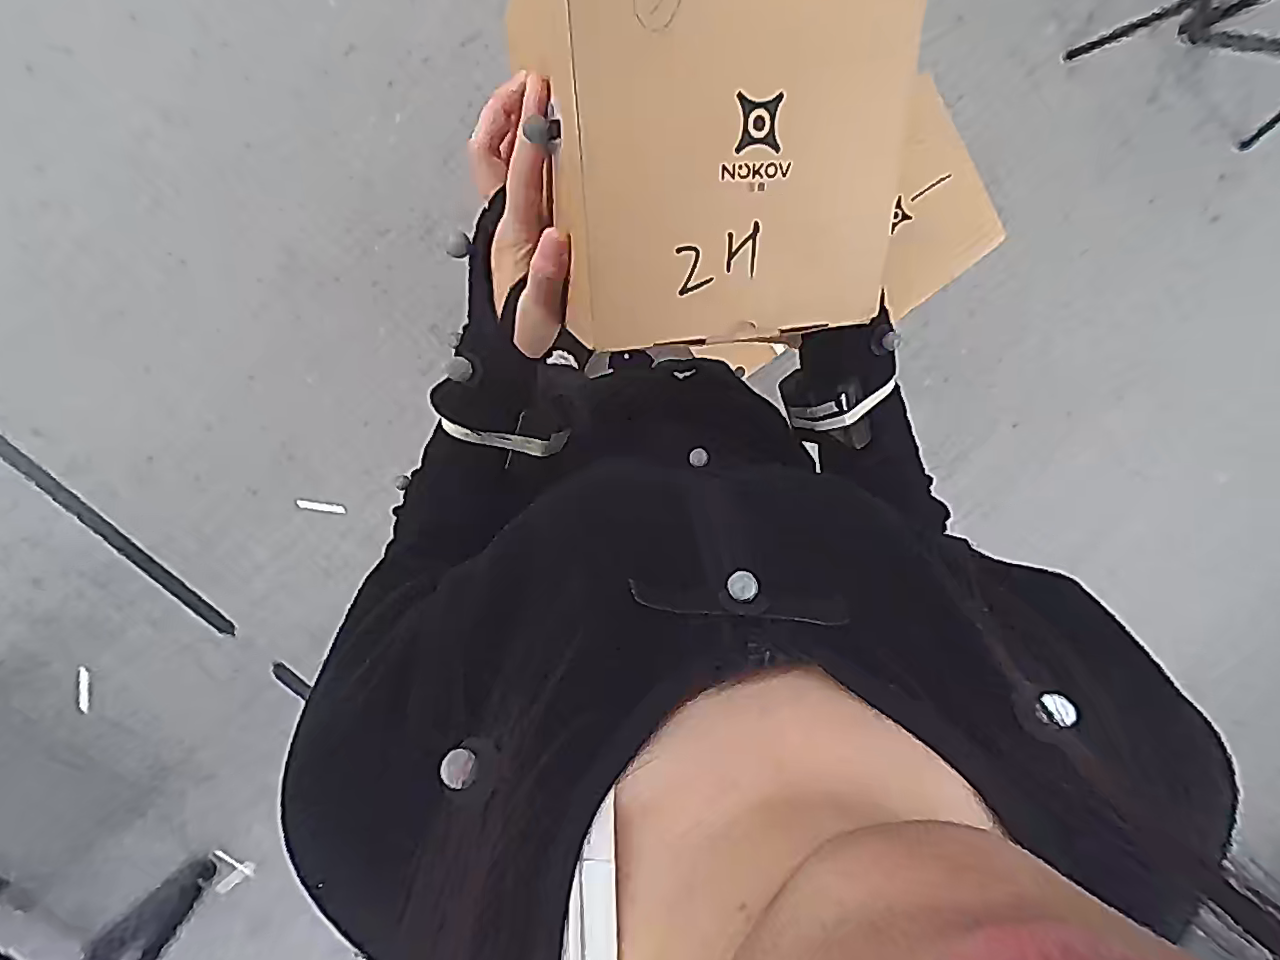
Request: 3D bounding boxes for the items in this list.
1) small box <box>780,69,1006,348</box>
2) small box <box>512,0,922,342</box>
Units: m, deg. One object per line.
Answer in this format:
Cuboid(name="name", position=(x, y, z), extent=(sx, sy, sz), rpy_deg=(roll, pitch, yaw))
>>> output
Cuboid(name="small box", position=(0.213, -0.255, 0.557), extent=(0.179, 0.176, 0.168), rpy_deg=(-37, 106, 5))
Cuboid(name="small box", position=(0.025, -0.189, 0.313), extent=(0.168, 0.176, 0.179), rpy_deg=(-10, 117, -15))
